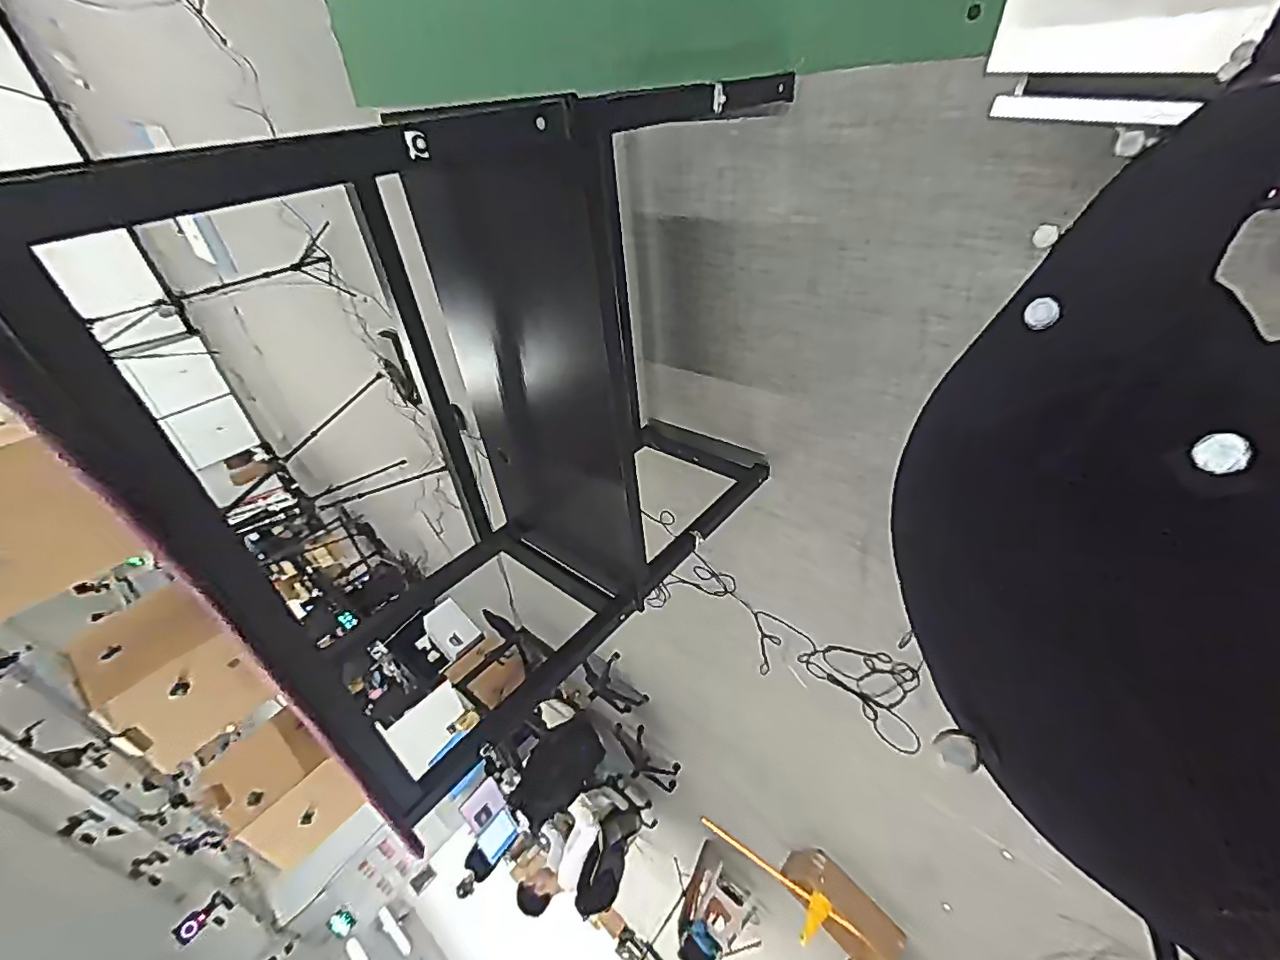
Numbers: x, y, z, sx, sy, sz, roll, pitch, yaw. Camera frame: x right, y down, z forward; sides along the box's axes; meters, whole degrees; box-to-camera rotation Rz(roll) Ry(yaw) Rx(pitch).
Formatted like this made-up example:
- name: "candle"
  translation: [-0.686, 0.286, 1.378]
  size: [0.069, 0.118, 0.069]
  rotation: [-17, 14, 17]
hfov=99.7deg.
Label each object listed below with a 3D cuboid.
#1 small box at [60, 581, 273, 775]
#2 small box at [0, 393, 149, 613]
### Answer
- name: "small box"
  translation: [-0.683, 0.279, 0.799]
  size: [0.179, 0.176, 0.168]
  rotation: [26, 135, 34]
- name: "small box"
  translation: [-0.720, 0.025, 0.622]
  size: [0.168, 0.176, 0.179]
  rotation: [25, 136, 37]
